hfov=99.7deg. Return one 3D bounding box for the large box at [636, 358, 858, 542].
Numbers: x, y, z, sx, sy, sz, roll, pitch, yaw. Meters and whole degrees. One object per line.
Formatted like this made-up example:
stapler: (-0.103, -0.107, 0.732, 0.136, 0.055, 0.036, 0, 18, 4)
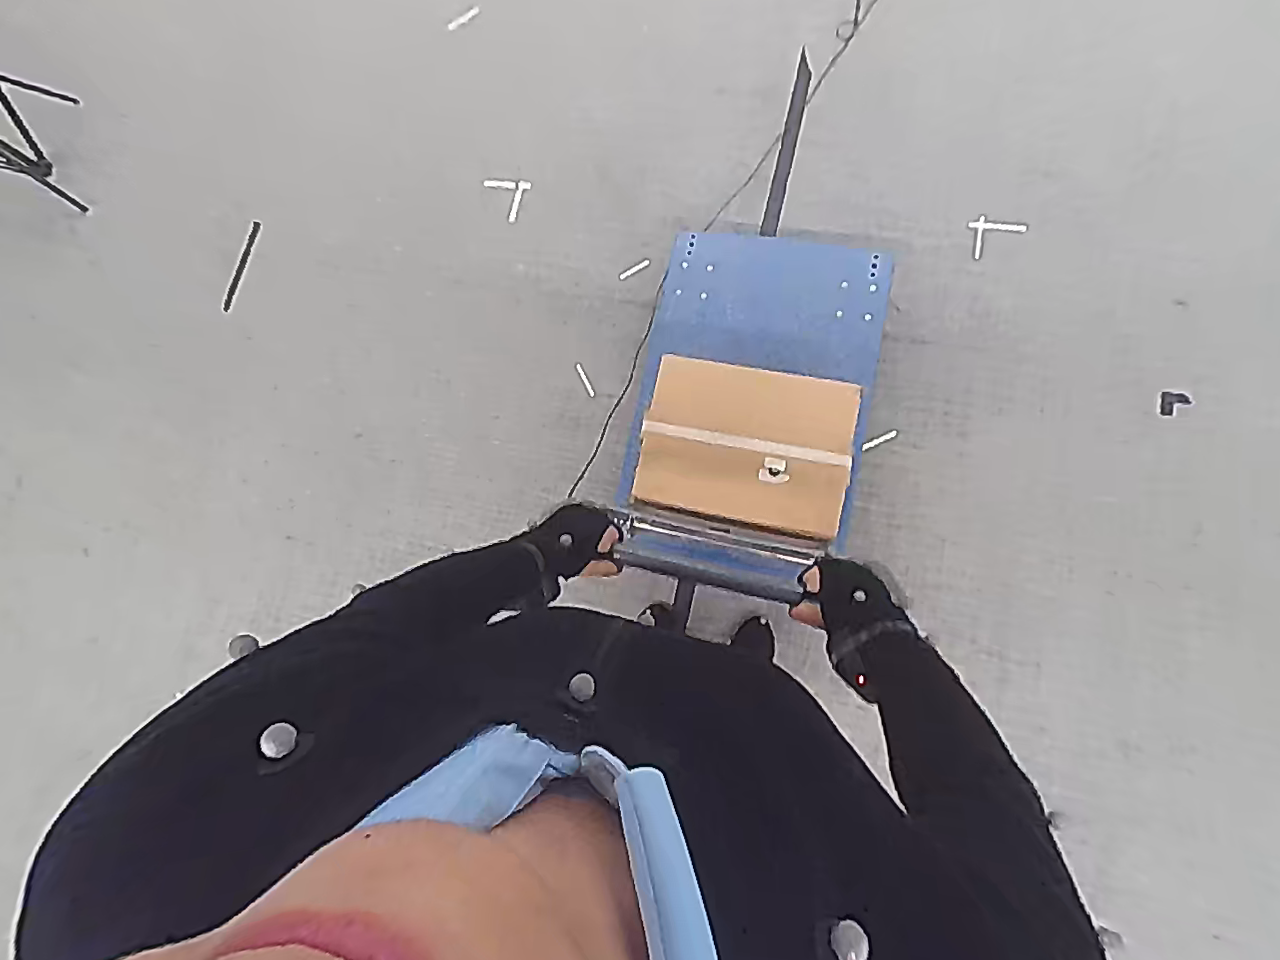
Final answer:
large box: (0.231, -0.053, 1.230, 0.408, 0.320, 0.320, 11, 84, 10)
